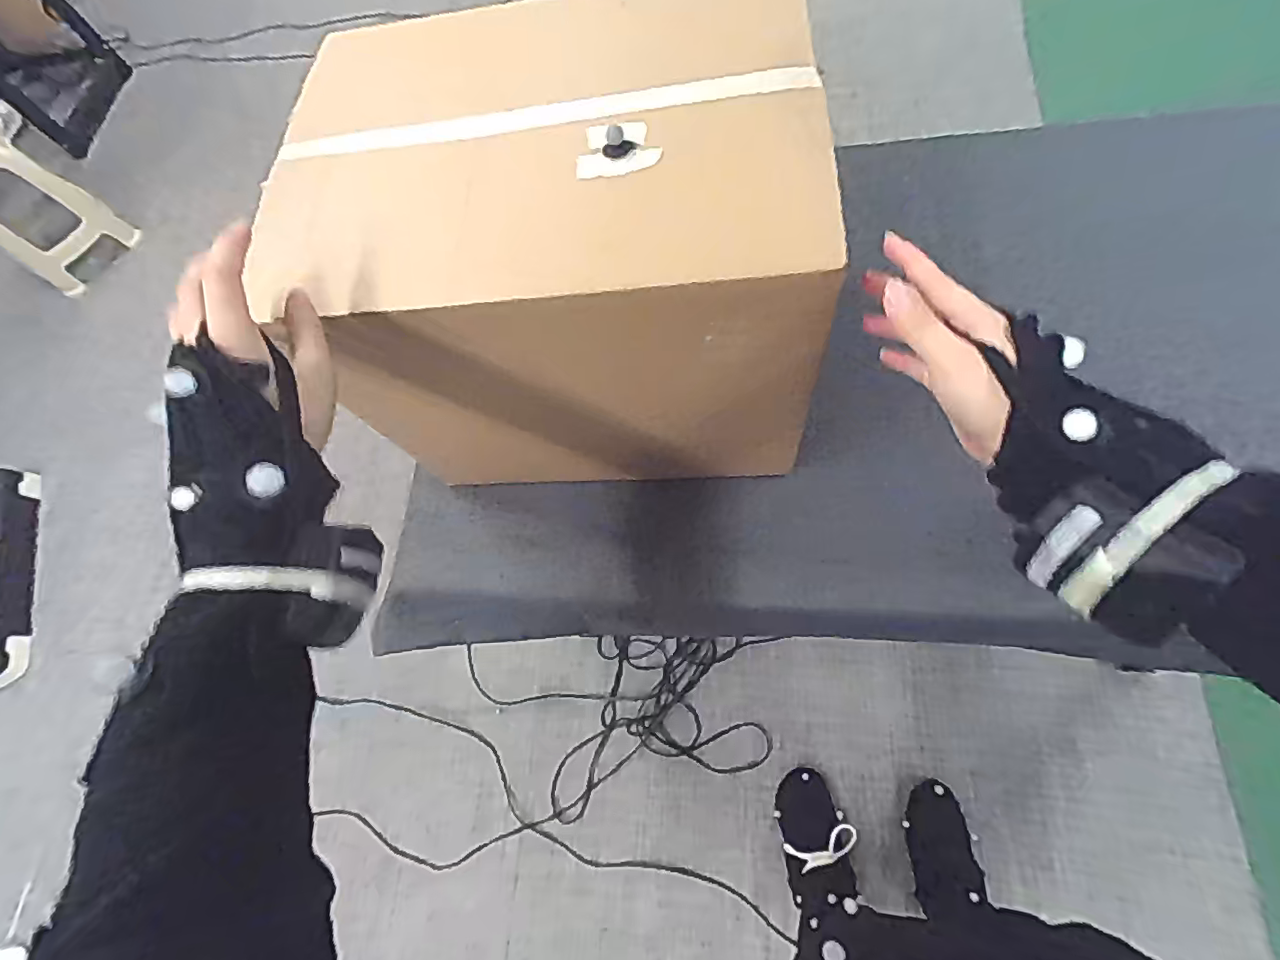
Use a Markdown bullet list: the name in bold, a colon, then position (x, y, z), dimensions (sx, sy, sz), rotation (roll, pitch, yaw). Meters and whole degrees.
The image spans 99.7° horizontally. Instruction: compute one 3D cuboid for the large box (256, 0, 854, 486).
- **large box**: position (-0.048, -0.196, 0.537), dimensions (0.408, 0.320, 0.320), rotation (-2, 68, 7)
